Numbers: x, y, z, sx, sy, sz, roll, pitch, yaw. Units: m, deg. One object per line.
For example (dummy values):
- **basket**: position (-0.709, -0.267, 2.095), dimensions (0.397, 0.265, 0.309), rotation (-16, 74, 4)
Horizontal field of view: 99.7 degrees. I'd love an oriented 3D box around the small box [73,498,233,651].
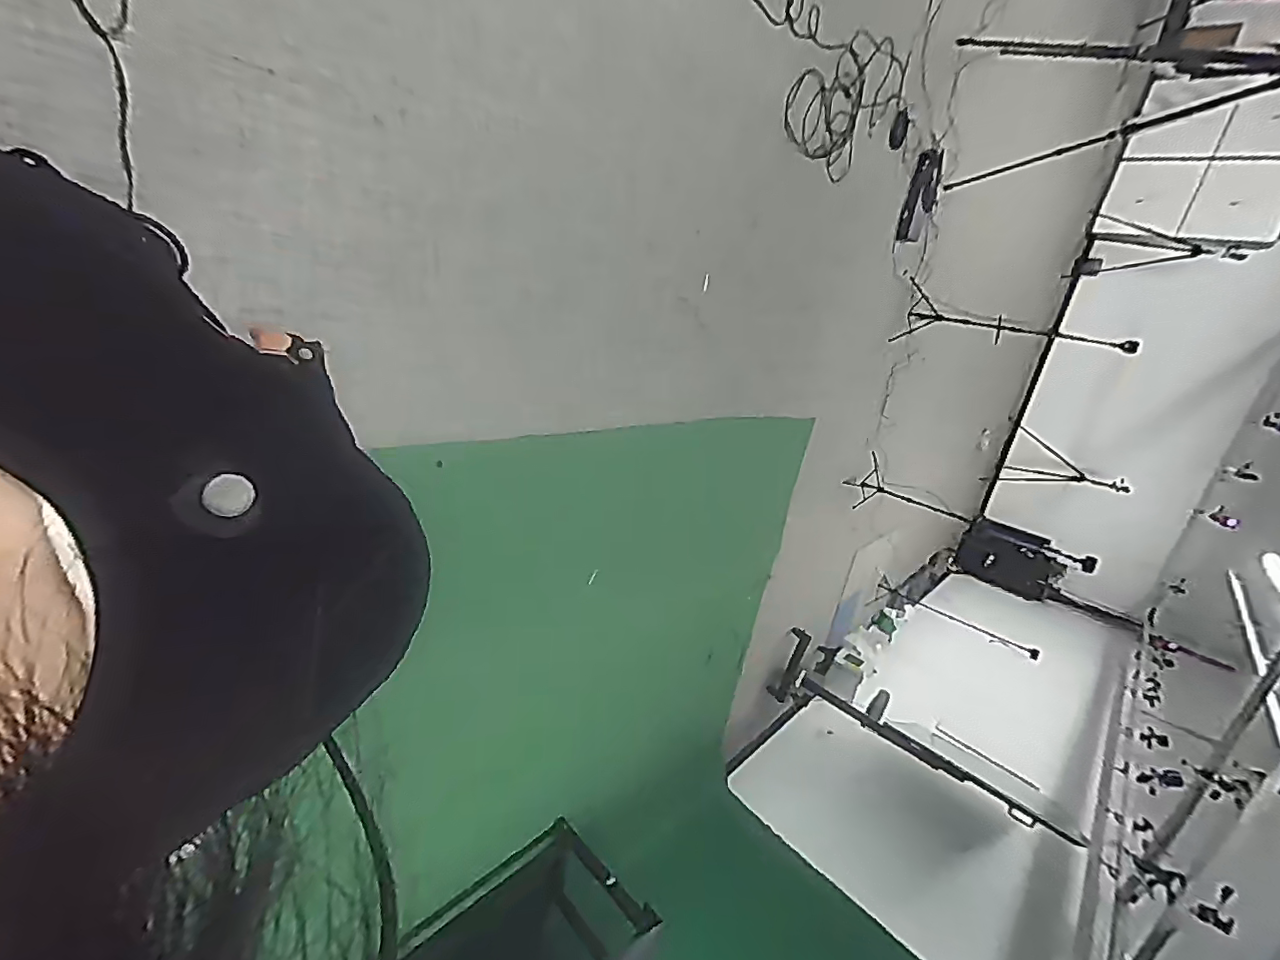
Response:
- **small box**: position (-0.784, 0.140, 0.875), dimensions (0.179, 0.176, 0.168), rotation (-8, 116, -46)
